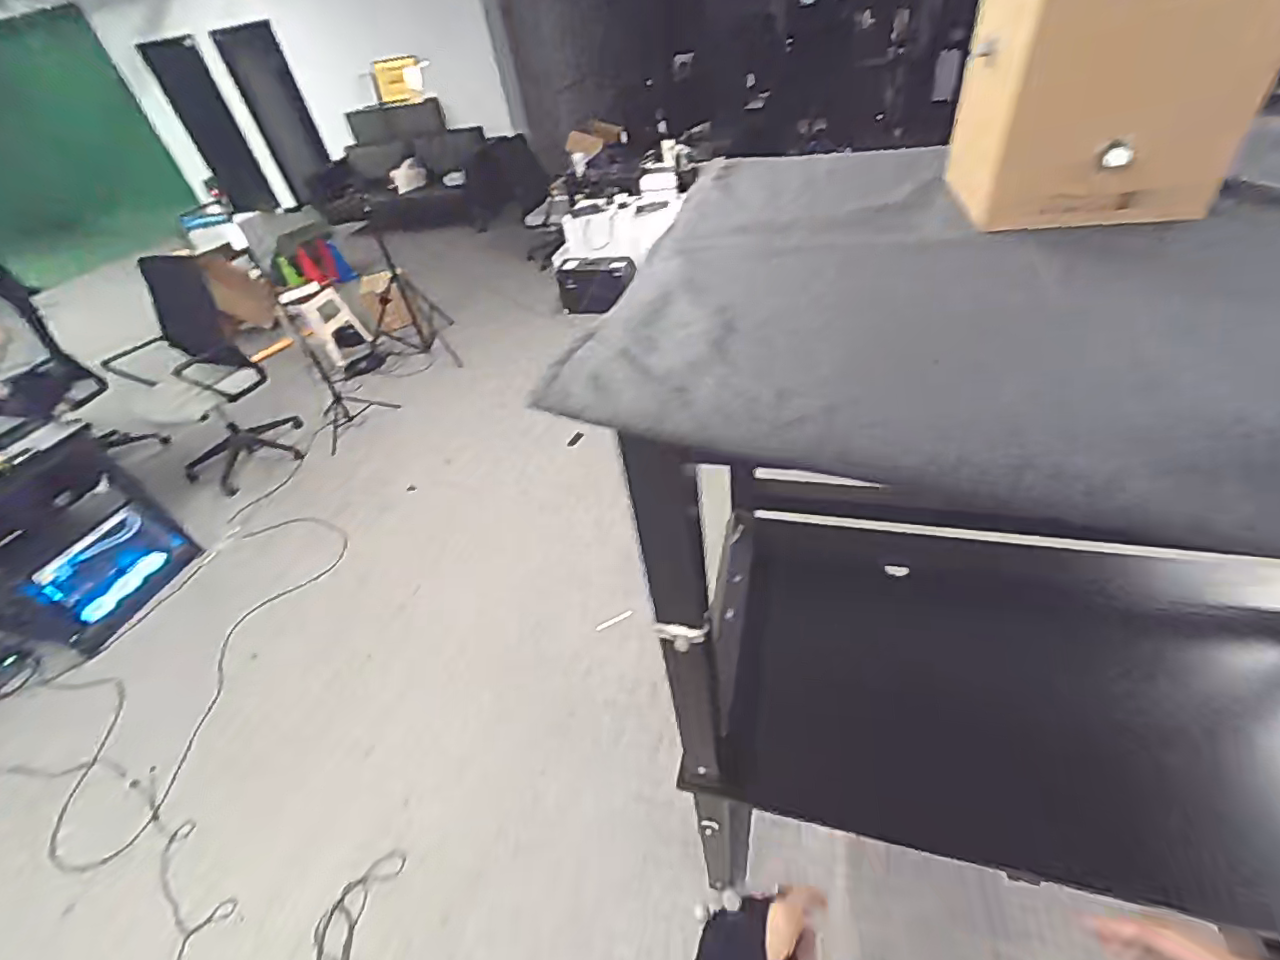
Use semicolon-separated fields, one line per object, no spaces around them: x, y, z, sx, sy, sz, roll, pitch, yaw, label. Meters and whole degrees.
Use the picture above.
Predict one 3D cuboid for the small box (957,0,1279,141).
0.377;-0.389;0.434;0.168;0.176;0.179;3;44;14;small box
